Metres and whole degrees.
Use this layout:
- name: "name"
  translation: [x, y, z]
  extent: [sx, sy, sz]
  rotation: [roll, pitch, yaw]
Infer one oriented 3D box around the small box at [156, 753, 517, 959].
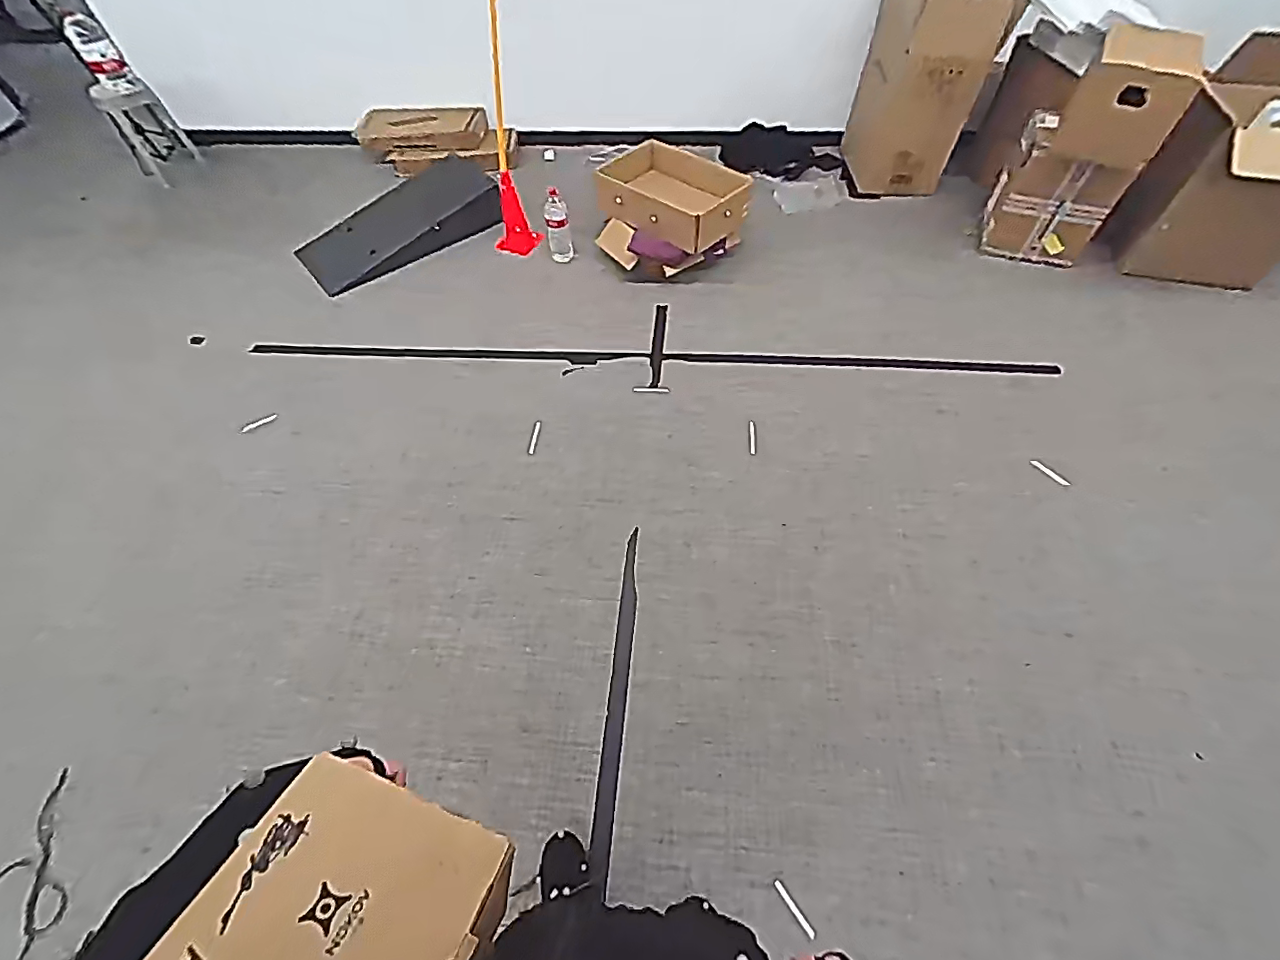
- name: "small box"
  translation: [-0.214, 0.354, 0.412]
  extent: [0.179, 0.176, 0.168]
  rotation: [20, 37, 7]
